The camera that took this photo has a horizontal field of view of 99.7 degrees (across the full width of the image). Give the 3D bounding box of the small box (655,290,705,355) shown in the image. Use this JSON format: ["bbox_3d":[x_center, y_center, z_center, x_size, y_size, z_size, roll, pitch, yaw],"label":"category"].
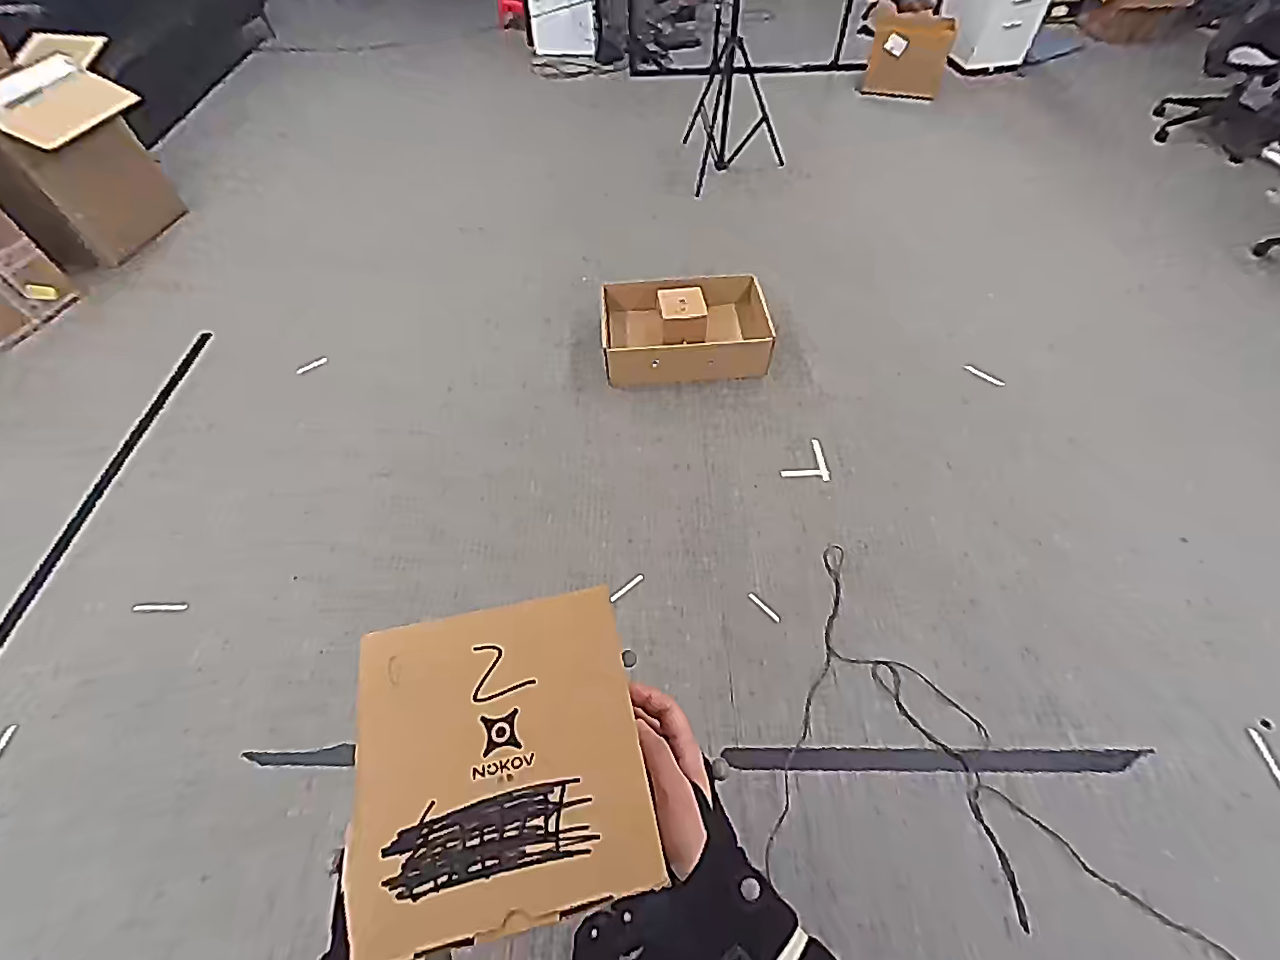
[{"bbox_3d":[0.149,-0.601,2.072,0.168,0.176,0.179,-6,55,-3],"label":"small box"}]
